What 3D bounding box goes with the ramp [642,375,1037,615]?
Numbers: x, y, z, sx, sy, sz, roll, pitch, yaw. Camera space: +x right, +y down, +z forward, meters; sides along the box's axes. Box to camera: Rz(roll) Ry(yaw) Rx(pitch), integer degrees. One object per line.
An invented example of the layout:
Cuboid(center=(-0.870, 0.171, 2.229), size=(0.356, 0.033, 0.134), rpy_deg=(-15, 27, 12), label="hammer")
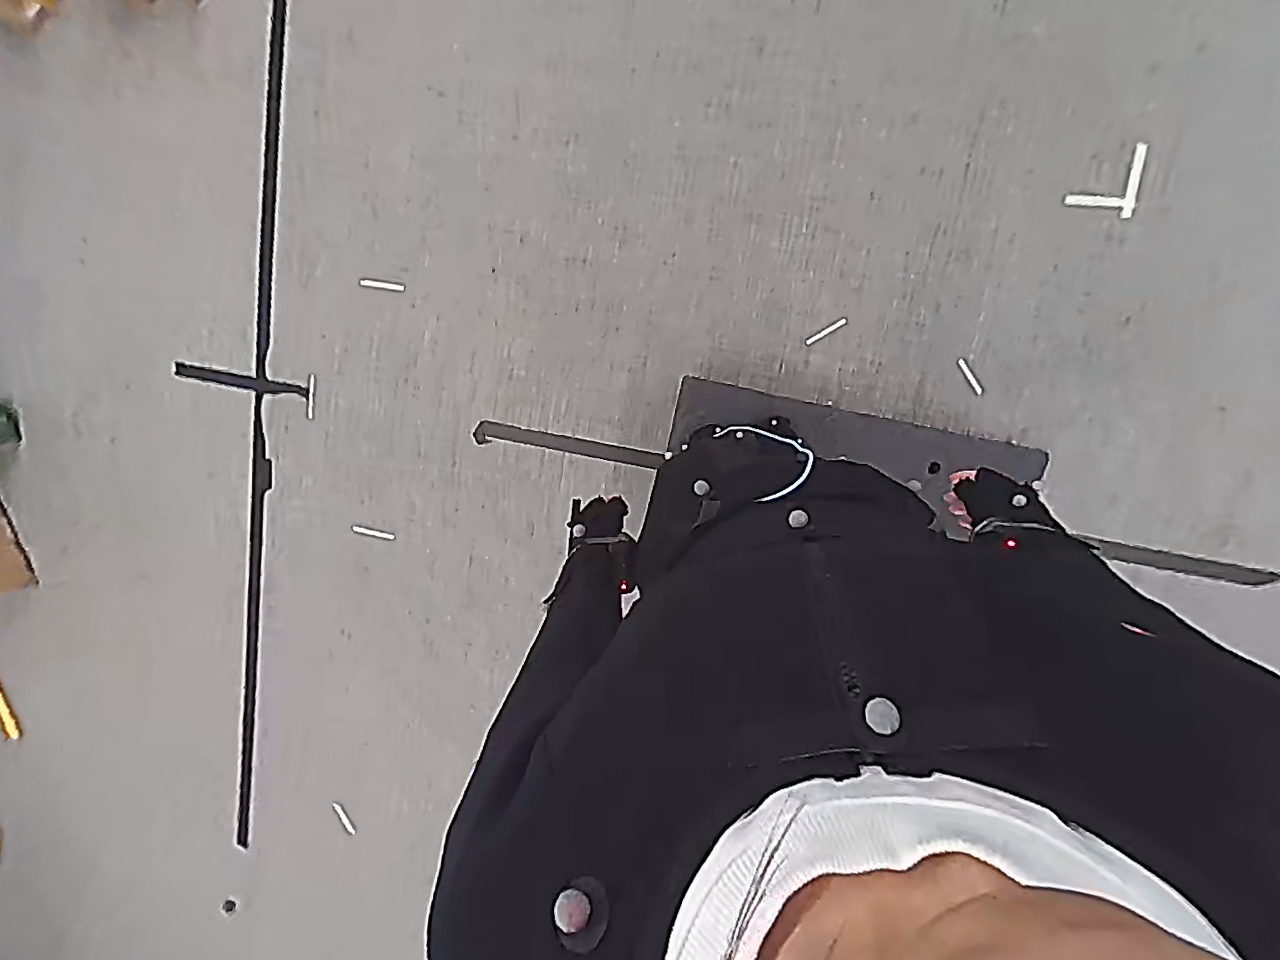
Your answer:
Cuboid(center=(0.536, 0.051, 1.462), size=(0.991, 0.206, 0.509), rpy_deg=(11, 98, 7), label="ramp")
